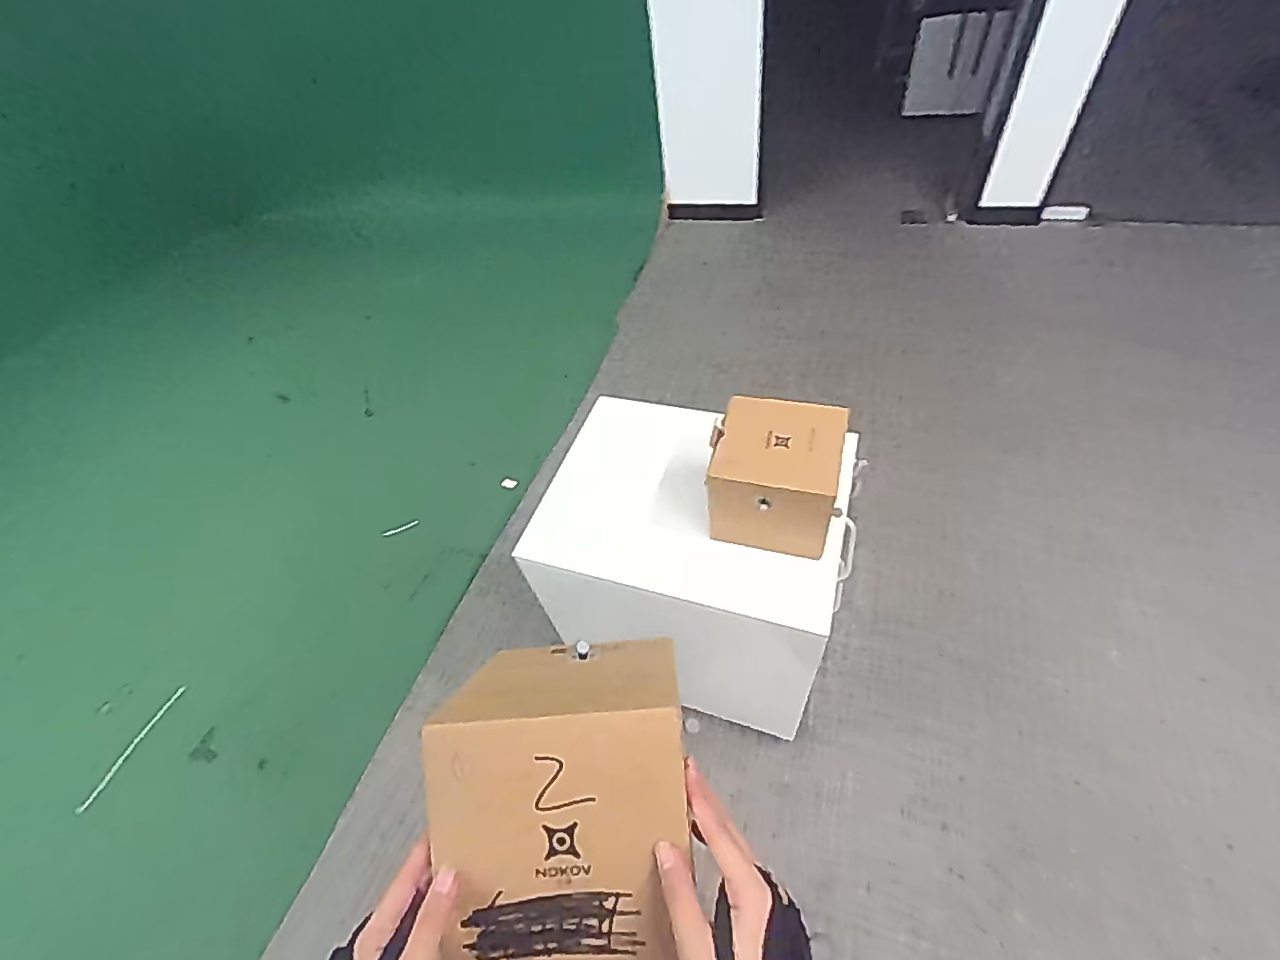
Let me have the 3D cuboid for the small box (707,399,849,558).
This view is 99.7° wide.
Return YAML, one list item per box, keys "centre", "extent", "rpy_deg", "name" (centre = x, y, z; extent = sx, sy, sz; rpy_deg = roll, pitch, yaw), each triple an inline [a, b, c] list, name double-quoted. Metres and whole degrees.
- centre: [0.208, 0.000, 0.823]
  extent: [0.179, 0.176, 0.168]
  rpy_deg: [9, 54, 17]
  name: "small box"
